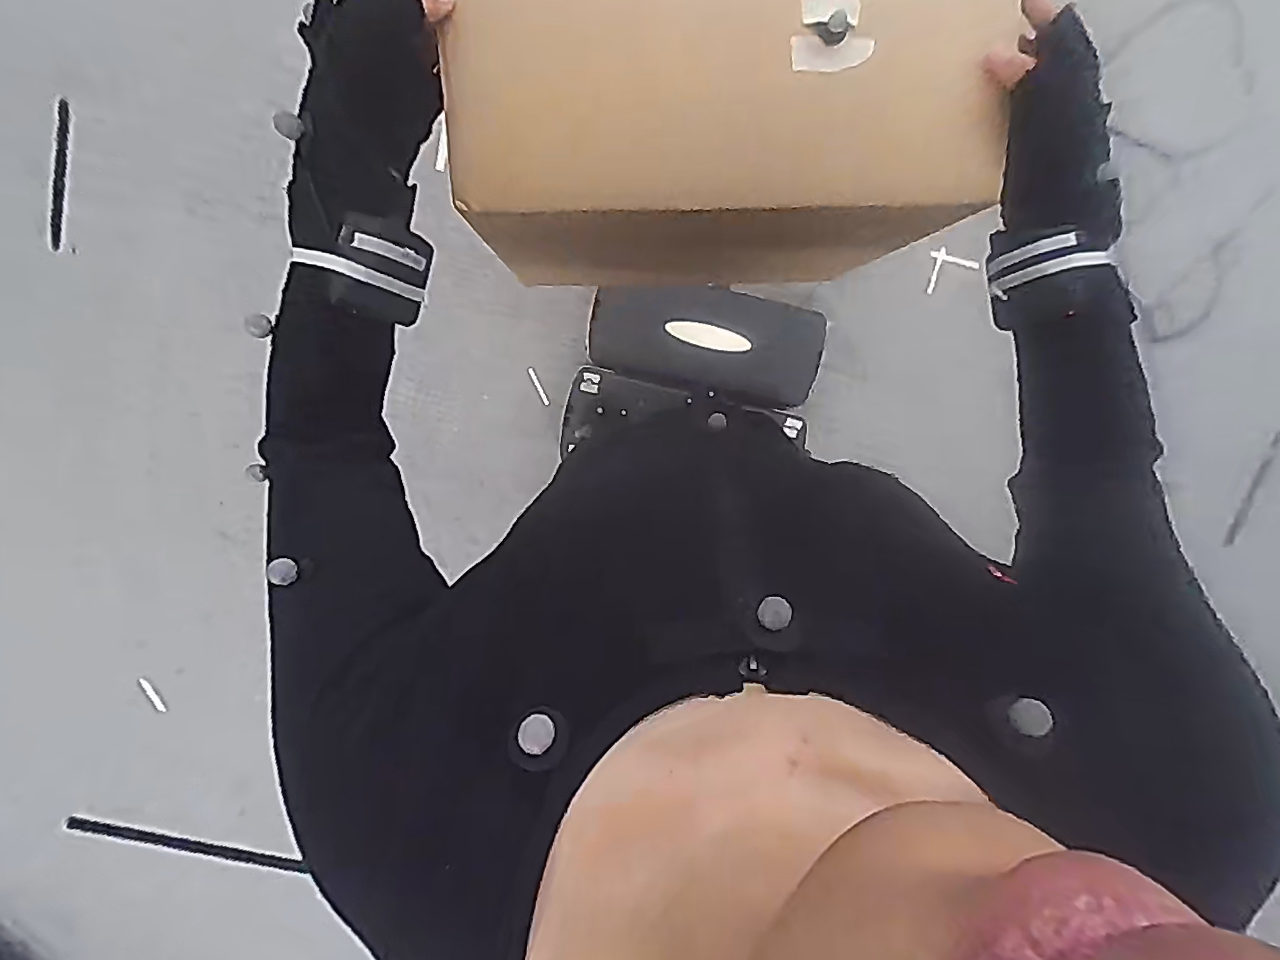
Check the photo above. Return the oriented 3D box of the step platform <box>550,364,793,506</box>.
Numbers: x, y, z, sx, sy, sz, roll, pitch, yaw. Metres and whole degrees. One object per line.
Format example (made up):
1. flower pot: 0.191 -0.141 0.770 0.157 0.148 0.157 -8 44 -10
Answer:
1. step platform: 0.087 -0.128 1.568 0.684 0.204 0.286 12 99 -3

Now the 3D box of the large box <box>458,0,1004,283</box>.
1. large box: 0.058 -0.386 0.530 0.408 0.320 0.320 -2 101 -4
